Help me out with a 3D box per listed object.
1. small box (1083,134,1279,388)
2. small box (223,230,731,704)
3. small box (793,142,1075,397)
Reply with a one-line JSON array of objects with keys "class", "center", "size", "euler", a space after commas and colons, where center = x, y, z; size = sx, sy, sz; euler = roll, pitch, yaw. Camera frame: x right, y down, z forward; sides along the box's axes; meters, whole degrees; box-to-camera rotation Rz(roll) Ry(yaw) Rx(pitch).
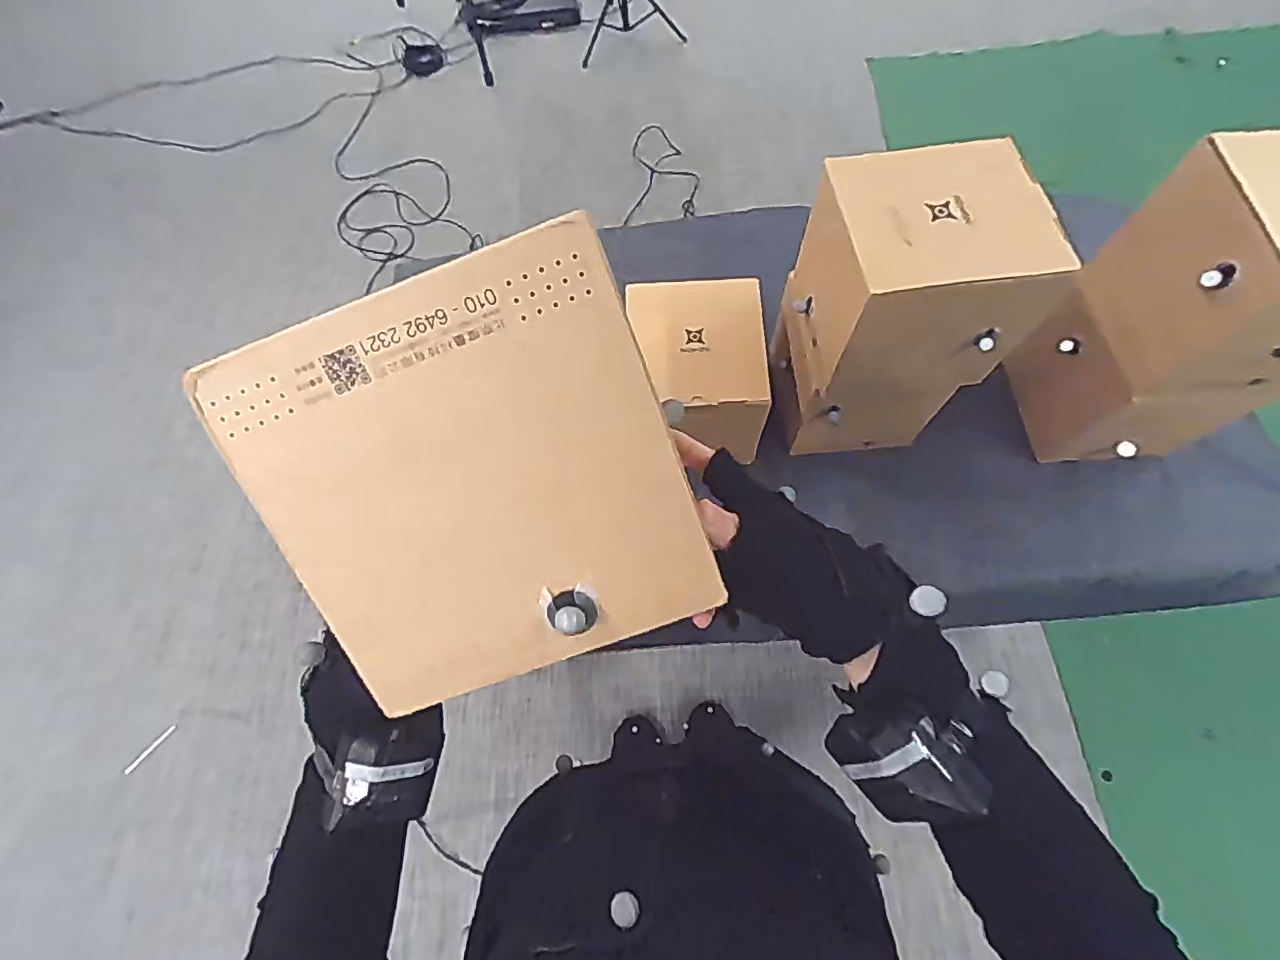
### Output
[{"class": "small box", "center": [0.592, -0.200, 0.526], "size": [0.168, 0.176, 0.179], "euler": [-2, 67, 3]}, {"class": "small box", "center": [-0.066, -0.021, 0.303], "size": [0.168, 0.179, 0.176], "euler": [-21, 106, 4]}, {"class": "small box", "center": [0.271, -0.202, 0.549], "size": [0.179, 0.176, 0.168], "euler": [-6, 66, 2]}]
